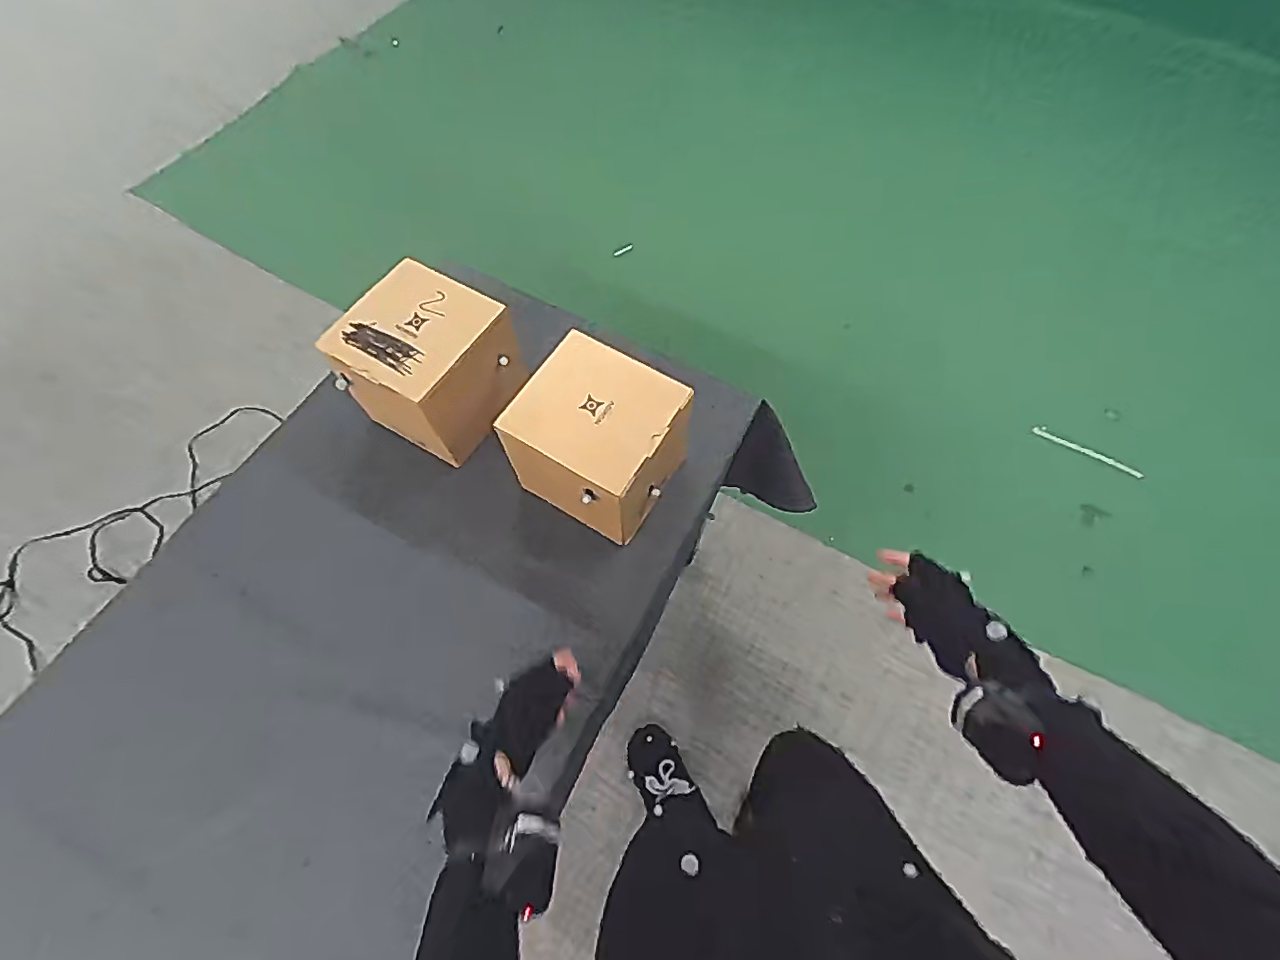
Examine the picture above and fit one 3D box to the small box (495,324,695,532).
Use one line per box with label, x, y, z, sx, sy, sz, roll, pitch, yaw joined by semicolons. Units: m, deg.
small box;-0.052;-0.057;0.692;0.179;0.176;0.168;30;68;12
